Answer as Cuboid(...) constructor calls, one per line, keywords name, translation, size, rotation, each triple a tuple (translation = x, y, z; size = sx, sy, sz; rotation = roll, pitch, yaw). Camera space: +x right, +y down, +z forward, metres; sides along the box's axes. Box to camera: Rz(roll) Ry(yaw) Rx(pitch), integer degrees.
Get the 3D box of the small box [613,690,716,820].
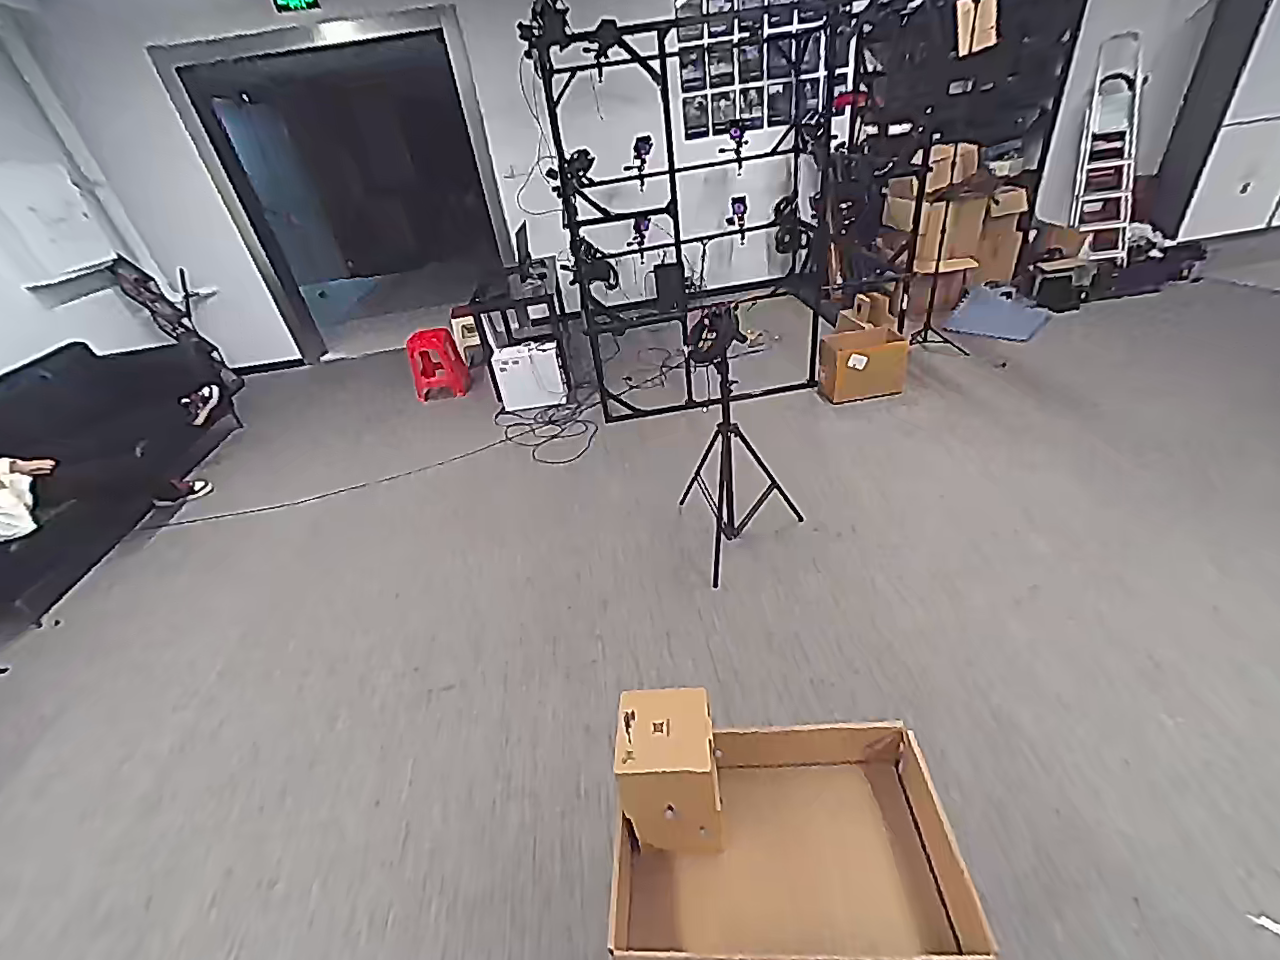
Cuboid(name="small box", translation=(0.054, 0.524, 1.032), size=(0.179, 0.176, 0.168), rotation=(-4, 33, 7))
